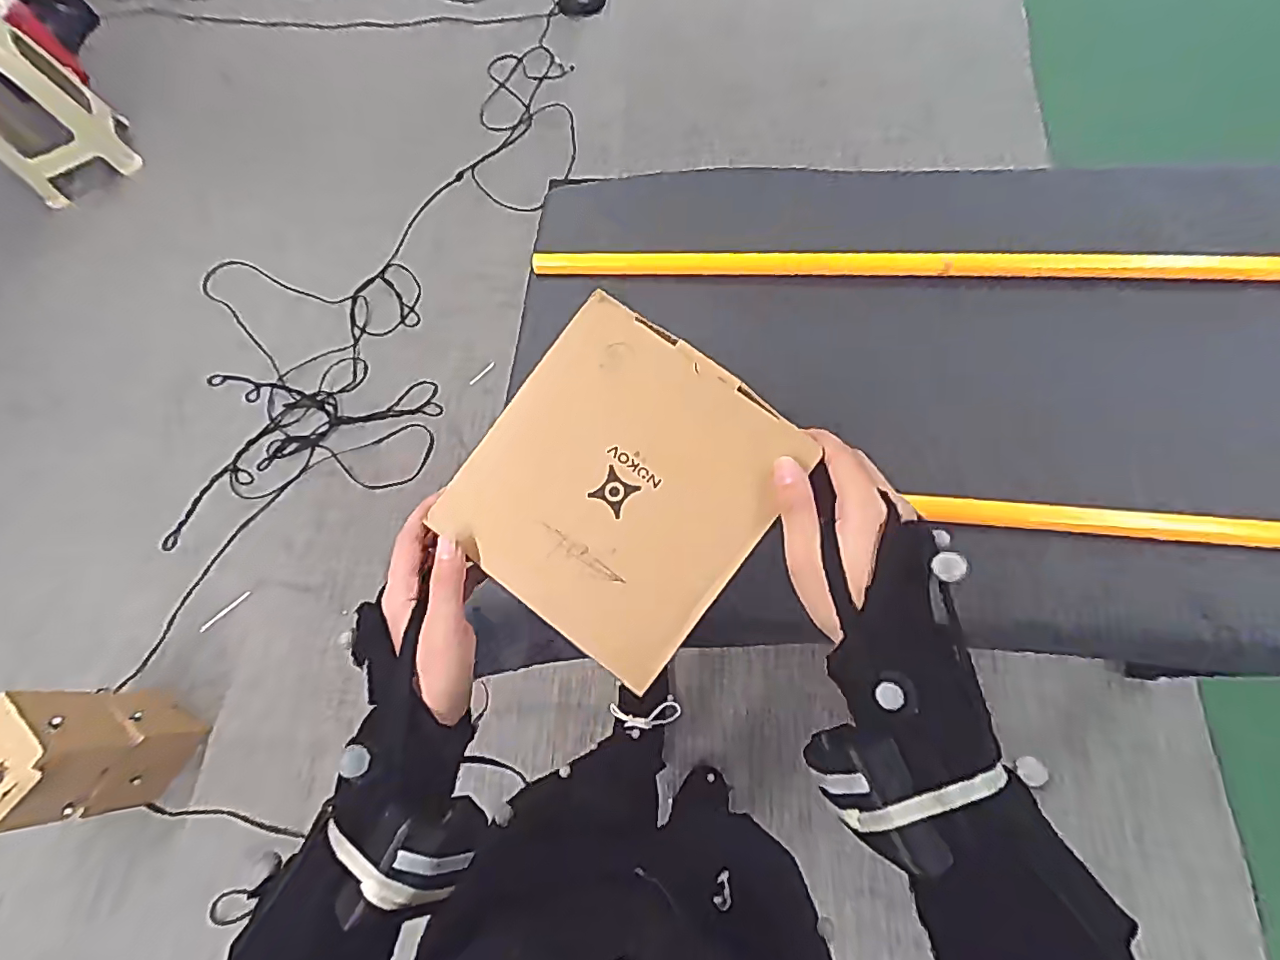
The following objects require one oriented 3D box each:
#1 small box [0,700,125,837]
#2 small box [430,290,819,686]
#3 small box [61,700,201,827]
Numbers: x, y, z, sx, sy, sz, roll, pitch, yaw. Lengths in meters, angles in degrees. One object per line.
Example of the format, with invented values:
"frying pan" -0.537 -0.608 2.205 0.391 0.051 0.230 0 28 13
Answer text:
"small box" -1.141 0.534 1.013 0.179 0.176 0.168 33 73 18
"small box" -0.005 0.007 0.392 0.168 0.176 0.179 36 89 8
"small box" -1.117 0.599 1.163 0.168 0.176 0.179 28 73 15
